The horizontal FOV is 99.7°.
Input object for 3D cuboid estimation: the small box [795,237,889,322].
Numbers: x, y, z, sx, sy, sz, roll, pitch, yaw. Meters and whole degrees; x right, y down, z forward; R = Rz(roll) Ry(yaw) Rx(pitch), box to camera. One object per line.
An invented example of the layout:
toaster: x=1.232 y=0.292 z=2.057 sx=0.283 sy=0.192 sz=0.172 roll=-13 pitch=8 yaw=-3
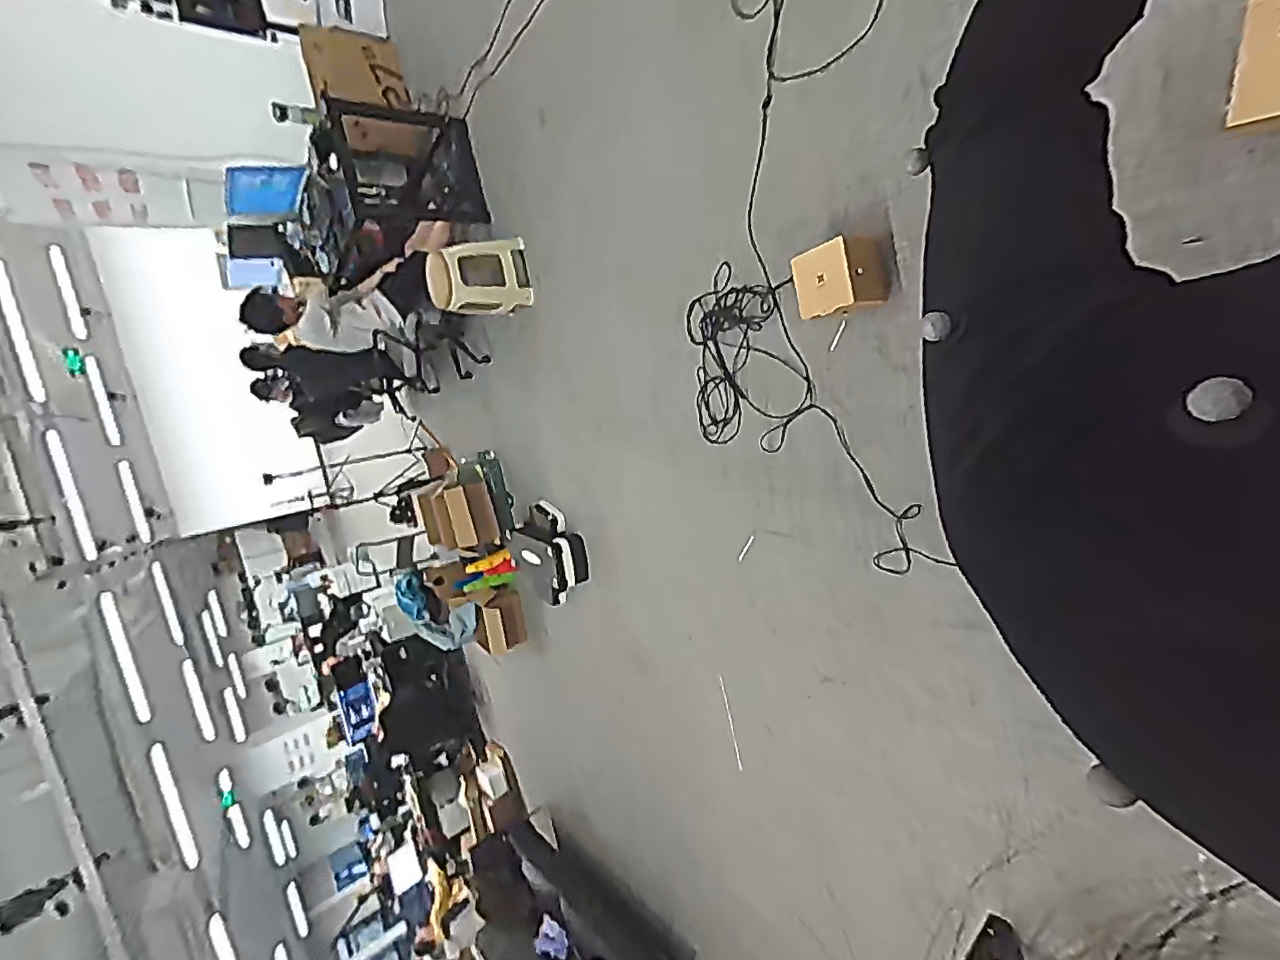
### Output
small box: x=0.560 y=-0.550 z=1.497 sx=0.168 sy=0.176 sz=0.179 roll=-6 pitch=99 yaw=54
